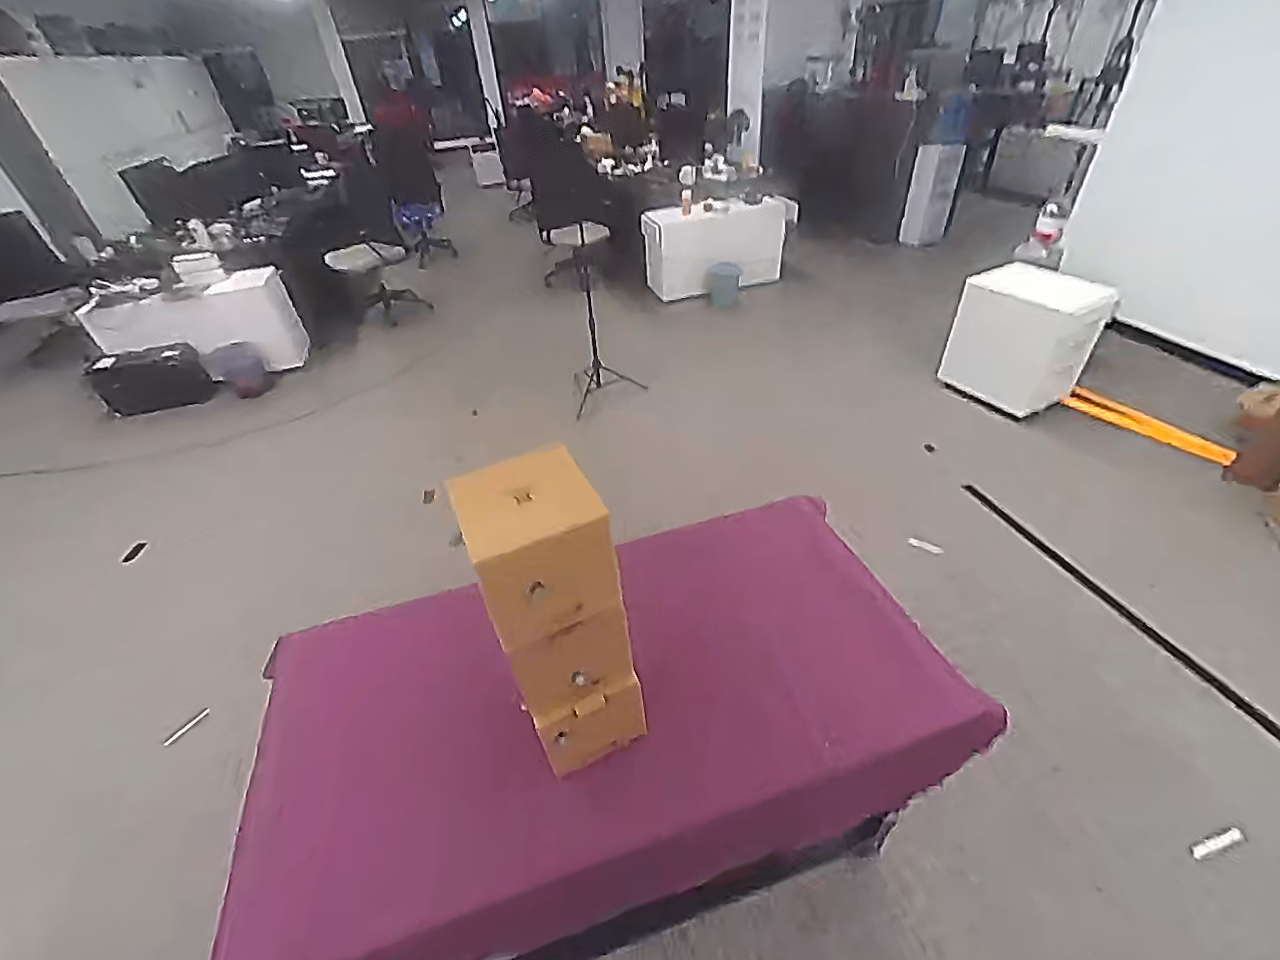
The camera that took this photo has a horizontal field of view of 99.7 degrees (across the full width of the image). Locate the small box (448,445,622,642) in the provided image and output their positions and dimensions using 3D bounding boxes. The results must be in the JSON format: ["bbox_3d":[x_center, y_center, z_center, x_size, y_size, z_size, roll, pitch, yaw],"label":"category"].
[{"bbox_3d":[-0.134,0.086,0.714,0.168,0.176,0.179,-20,40,-18],"label":"small box"}]

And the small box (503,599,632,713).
[{"bbox_3d":[-0.121,0.211,0.817,0.168,0.176,0.179,-18,40,-15],"label":"small box"}]
